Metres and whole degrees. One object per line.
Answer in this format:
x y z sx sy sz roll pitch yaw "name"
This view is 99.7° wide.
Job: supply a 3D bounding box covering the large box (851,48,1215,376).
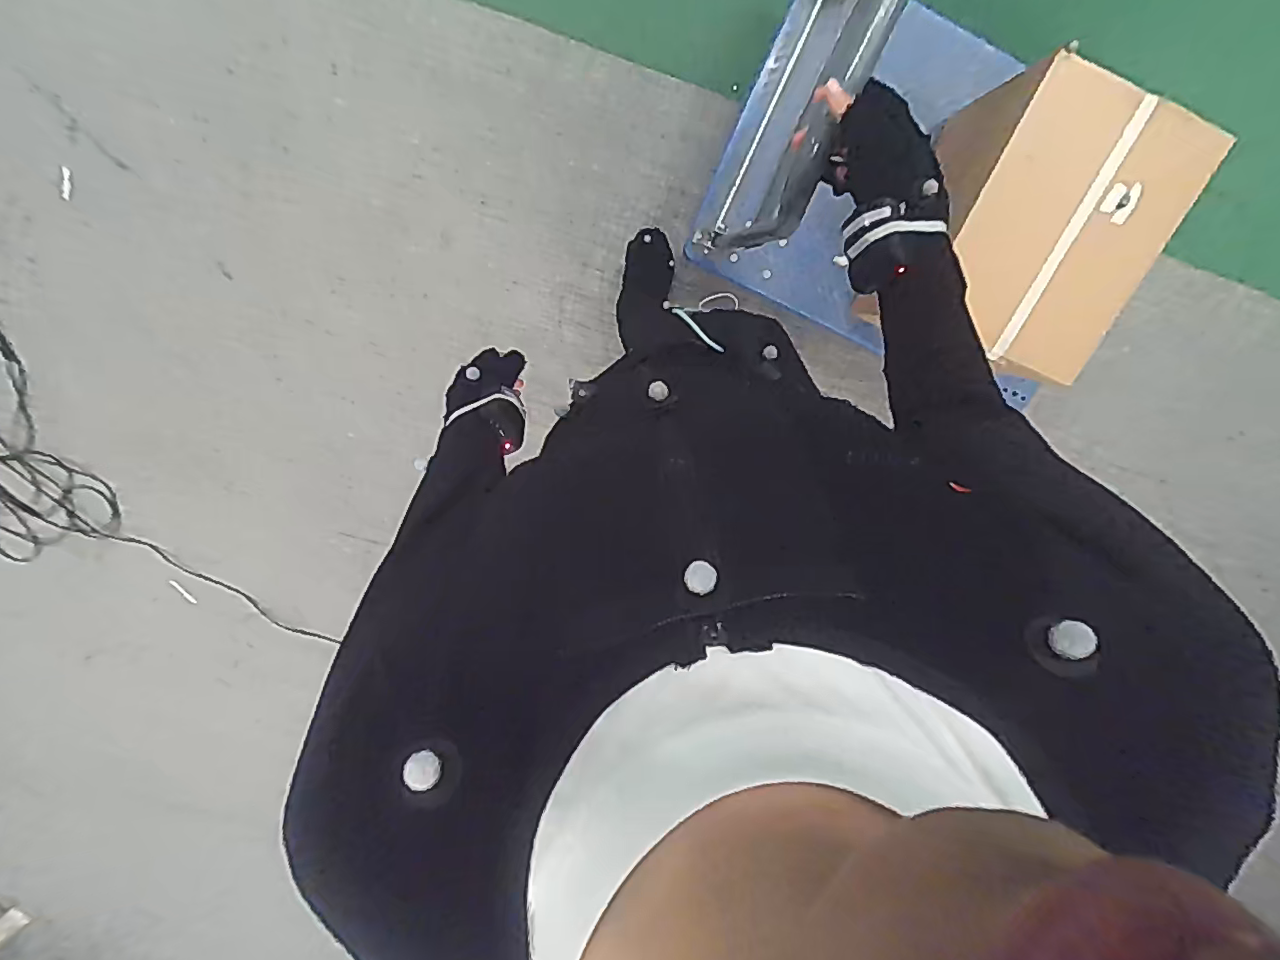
0.664 -0.447 1.001 0.320 0.320 0.408 21 107 -7 "large box"
